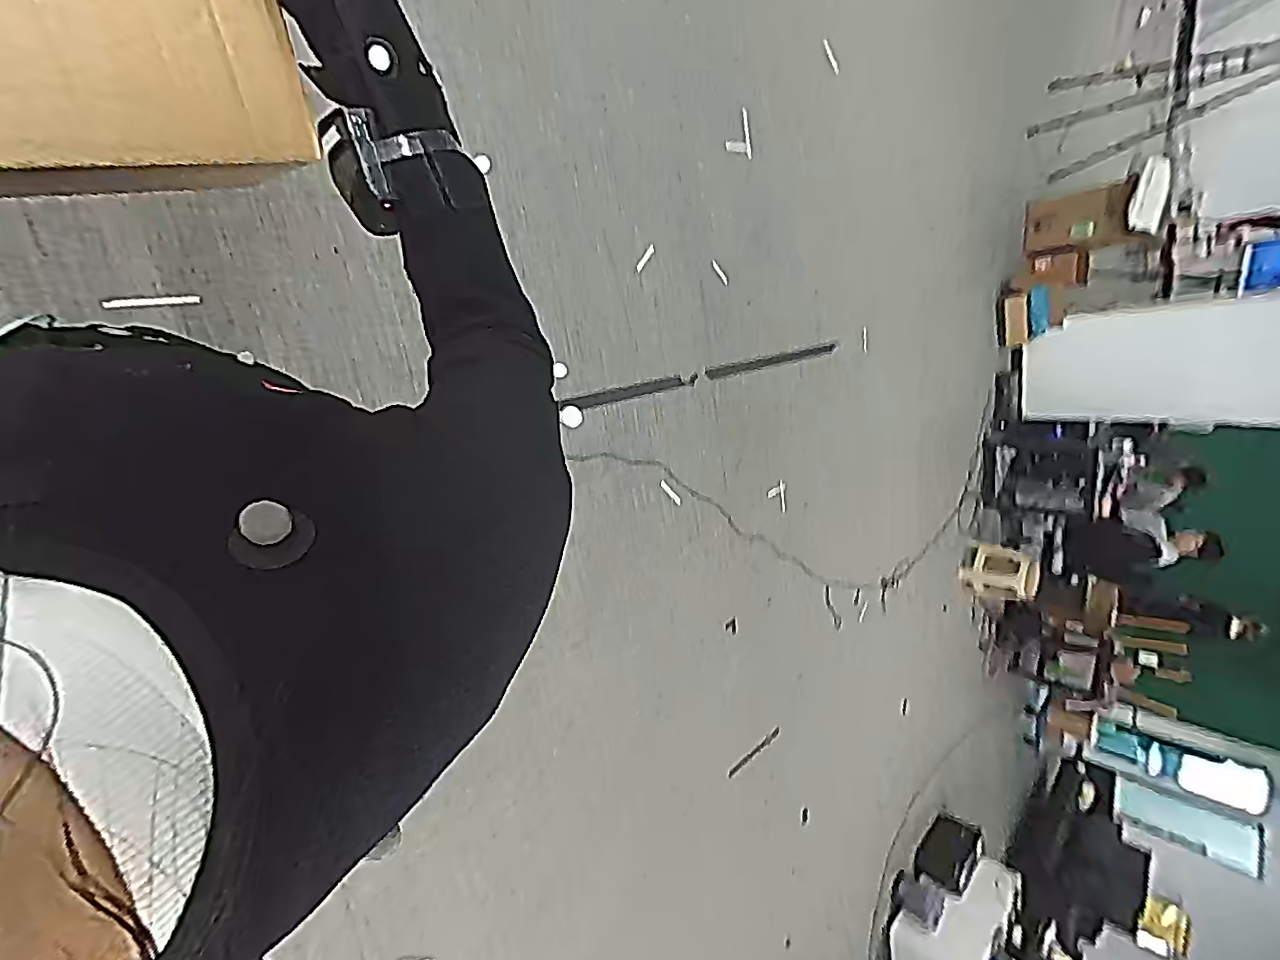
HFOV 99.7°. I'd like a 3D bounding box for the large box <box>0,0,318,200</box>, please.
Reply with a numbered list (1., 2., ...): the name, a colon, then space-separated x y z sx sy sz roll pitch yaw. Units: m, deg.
1. large box: -0.487 -0.340 0.311 0.408 0.320 0.320 -25 125 -34
